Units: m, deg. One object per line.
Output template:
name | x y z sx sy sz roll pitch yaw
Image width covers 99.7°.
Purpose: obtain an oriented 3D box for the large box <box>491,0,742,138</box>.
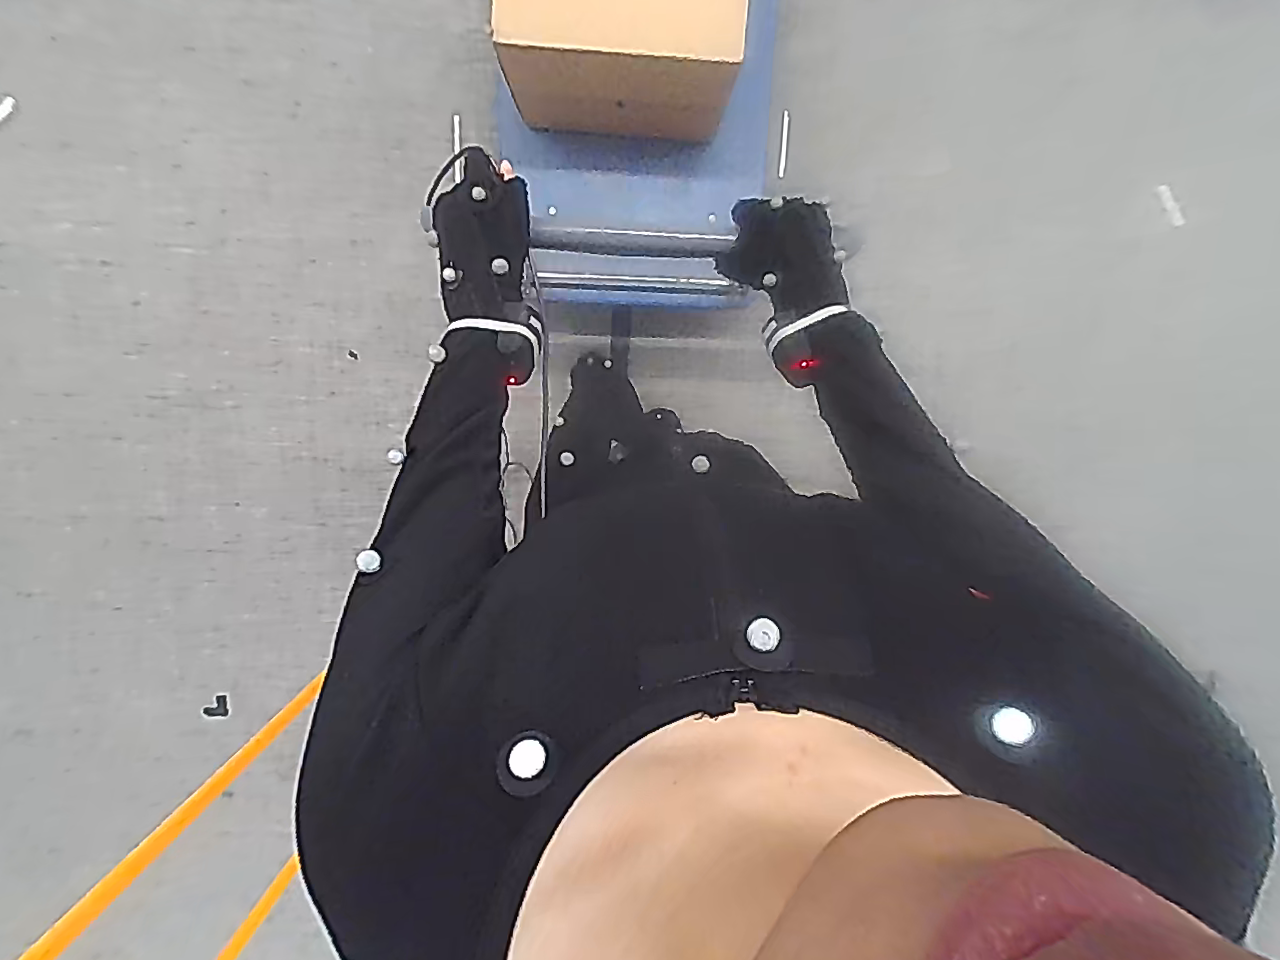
large box | -0.034 -0.859 0.986 0.408 0.320 0.320 3 101 -2
